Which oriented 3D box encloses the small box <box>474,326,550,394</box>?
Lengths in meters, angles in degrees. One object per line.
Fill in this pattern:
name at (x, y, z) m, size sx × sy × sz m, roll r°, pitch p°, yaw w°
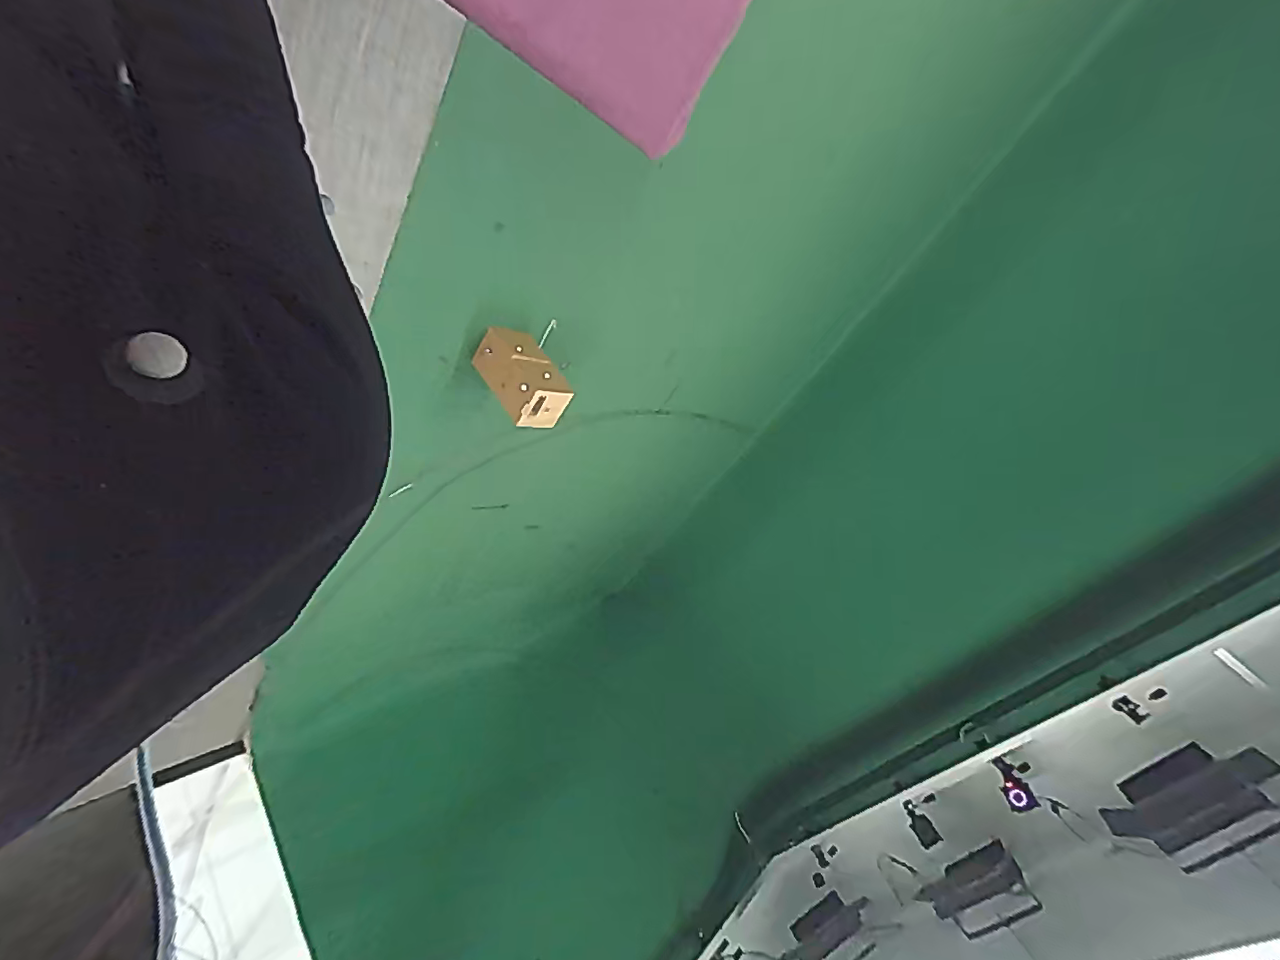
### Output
small box at (-0.466, -0.434, 1.960) m, size 0.179 × 0.176 × 0.168 m, roll -3°, pitch 140°, yaw -52°
